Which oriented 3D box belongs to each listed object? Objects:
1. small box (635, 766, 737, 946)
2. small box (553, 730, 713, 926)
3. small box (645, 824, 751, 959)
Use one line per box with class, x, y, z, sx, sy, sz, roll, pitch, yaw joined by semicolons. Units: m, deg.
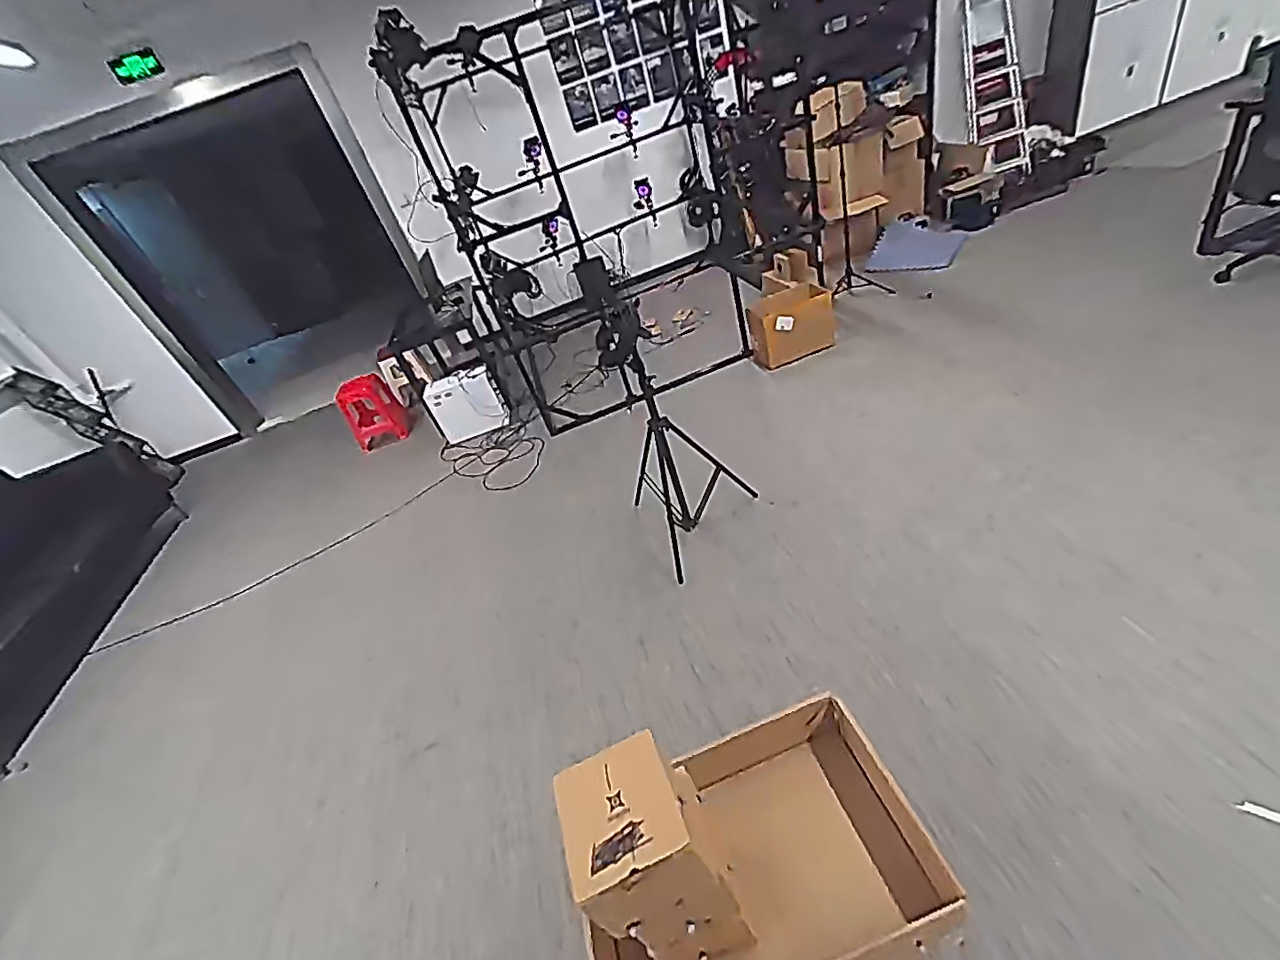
small box;0.046;0.632;0.912;0.168;0.176;0.179;-23;36;-3
small box;-0.009;0.520;0.803;0.168;0.176;0.179;-25;36;-6
small box;0.089;0.760;1.005;0.168;0.176;0.179;-23;36;-3
